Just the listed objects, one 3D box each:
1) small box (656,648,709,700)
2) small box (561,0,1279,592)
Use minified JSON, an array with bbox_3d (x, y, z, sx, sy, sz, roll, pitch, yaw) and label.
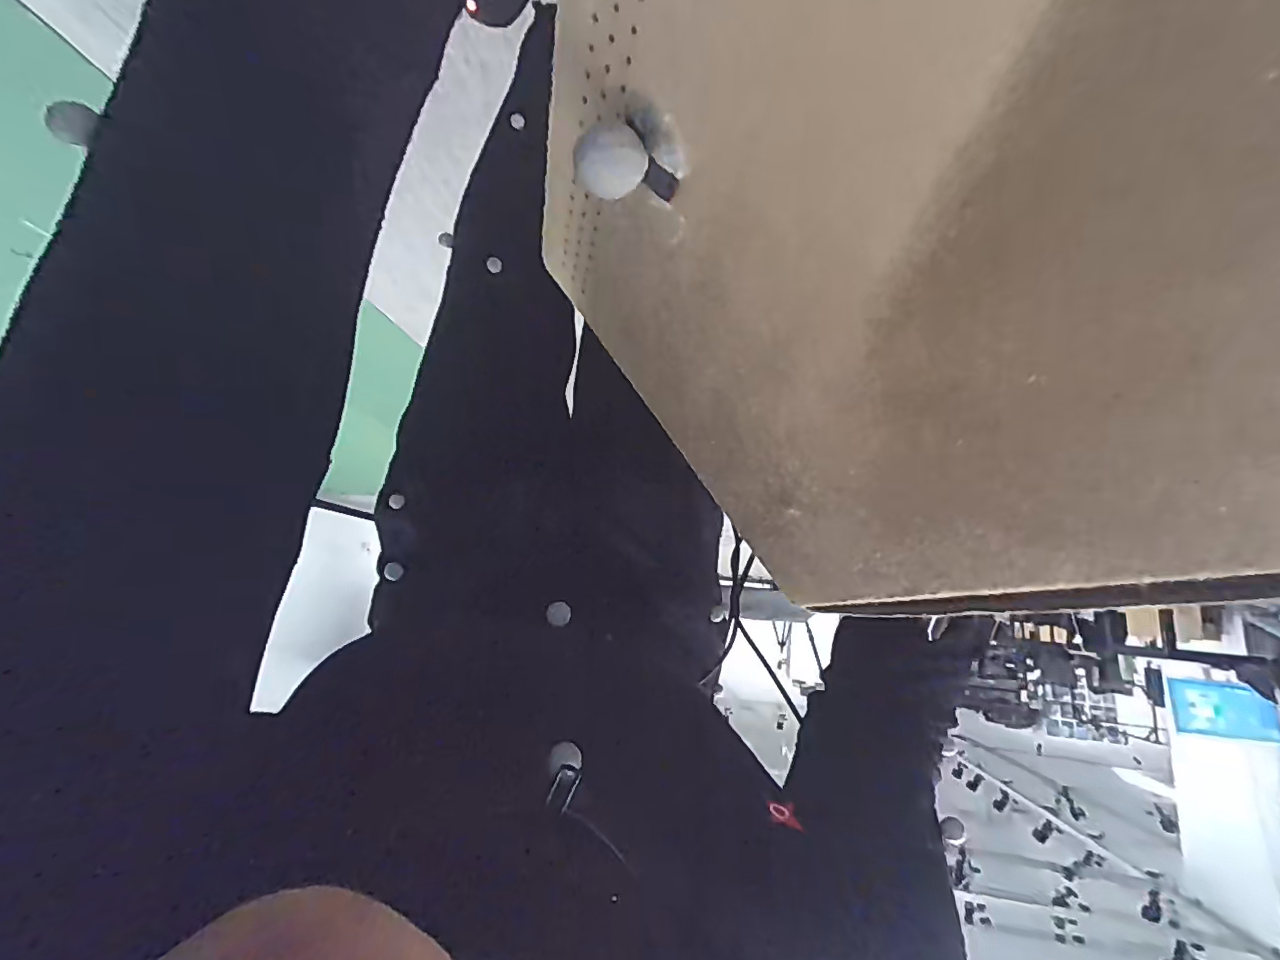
[{"bbox_3d":[0.166,0.725,2.058,0.179,0.176,0.168,3,166,15],"label":"small box"},{"bbox_3d":[0.094,-0.089,0.146,0.168,0.176,0.179,-33,175,-19],"label":"small box"}]
